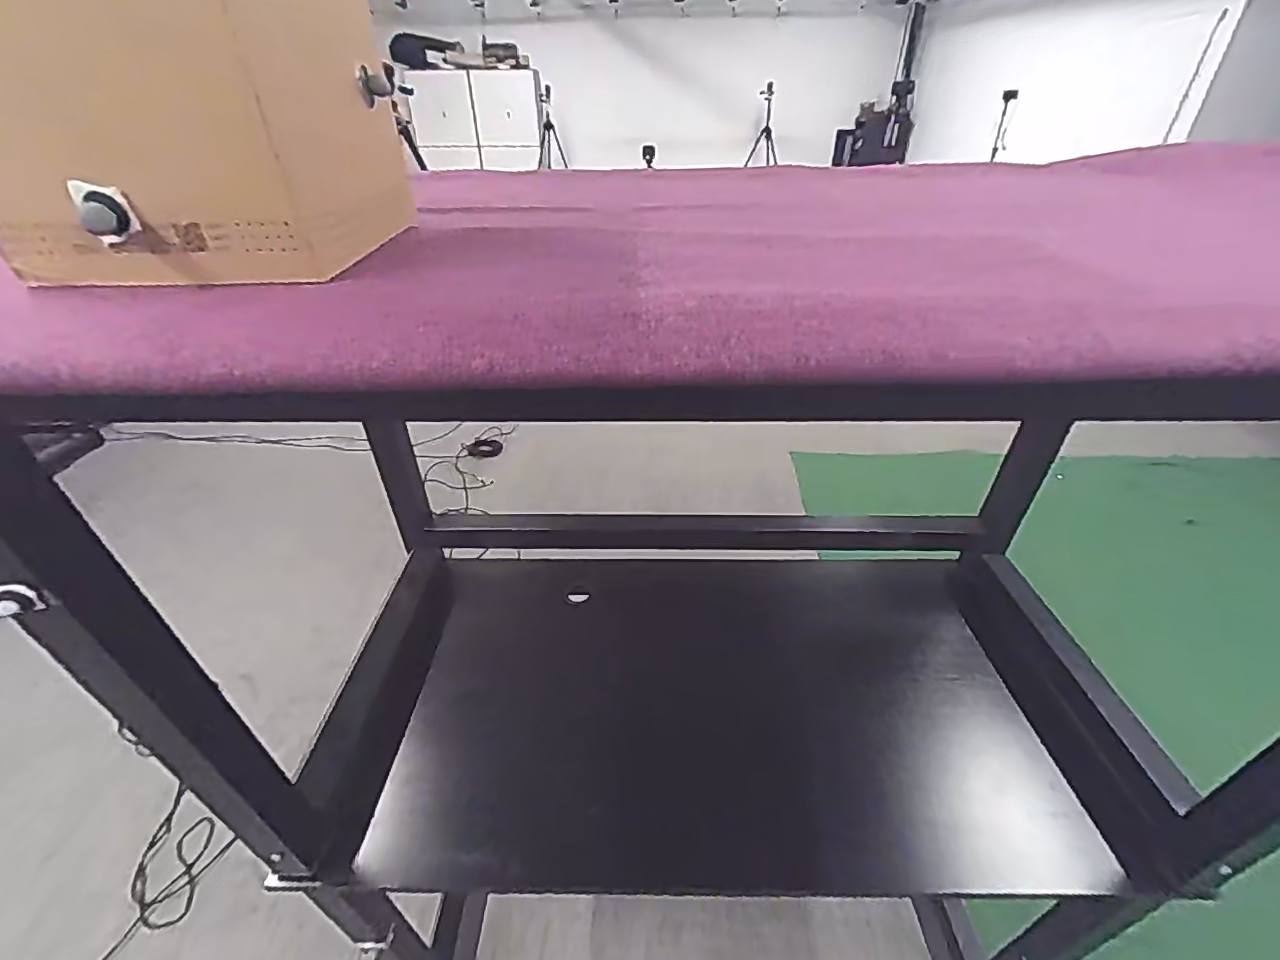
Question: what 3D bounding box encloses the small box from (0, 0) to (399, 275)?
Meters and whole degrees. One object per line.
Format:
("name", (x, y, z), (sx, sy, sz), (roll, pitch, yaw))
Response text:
("small box", (-0.260, -0.226, 0.311), (0.168, 0.176, 0.179), (-3, 37, -1))
